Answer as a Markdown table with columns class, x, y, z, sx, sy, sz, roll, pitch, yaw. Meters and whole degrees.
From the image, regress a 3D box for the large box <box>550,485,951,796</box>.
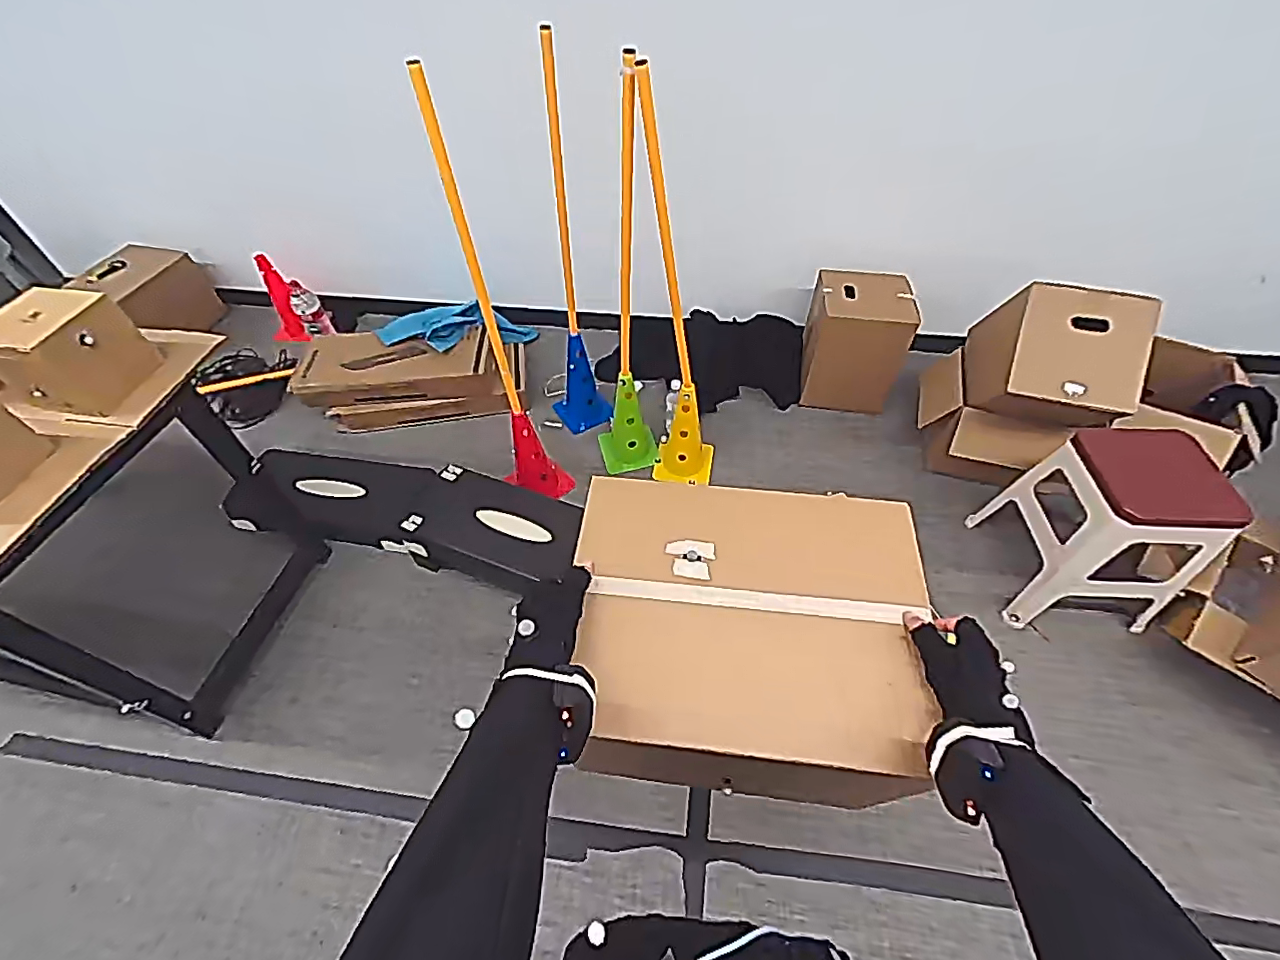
| class | x | y | z | sx | sy | sz | roll | pitch | yaw |
| --- | --- | --- | --- | --- | --- | --- | --- | --- | --- |
| large box | 0.126 | 0.228 | 0.742 | 0.408 | 0.320 | 0.320 | 4 | 54 | 5 |
